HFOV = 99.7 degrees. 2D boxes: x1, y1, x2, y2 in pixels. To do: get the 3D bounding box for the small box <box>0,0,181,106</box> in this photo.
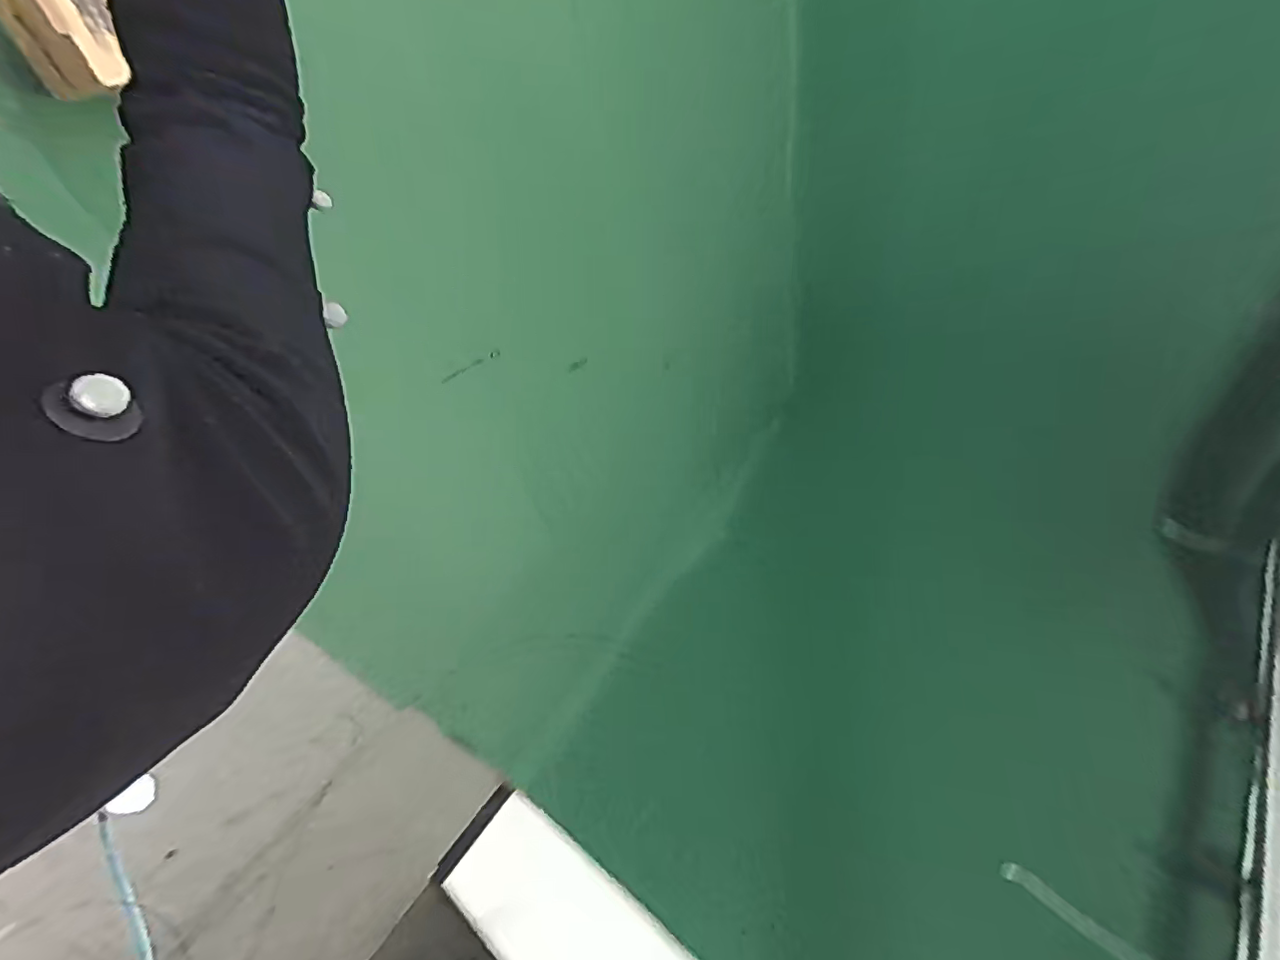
[{"bbox_3d":[-0.914,-0.729,0.879,0.179,0.176,0.168,-45,141,-29],"label":"small box"}]
